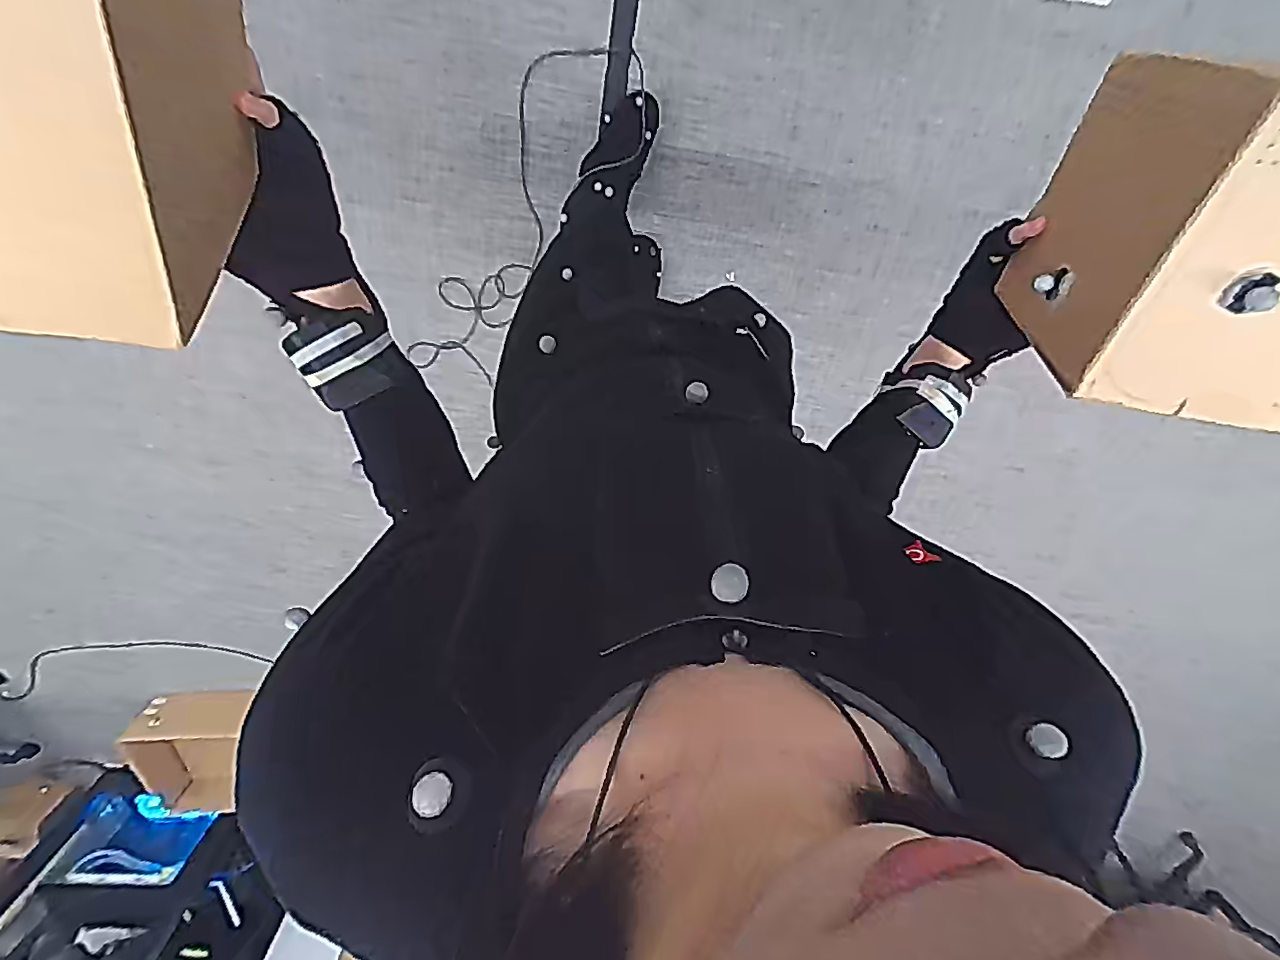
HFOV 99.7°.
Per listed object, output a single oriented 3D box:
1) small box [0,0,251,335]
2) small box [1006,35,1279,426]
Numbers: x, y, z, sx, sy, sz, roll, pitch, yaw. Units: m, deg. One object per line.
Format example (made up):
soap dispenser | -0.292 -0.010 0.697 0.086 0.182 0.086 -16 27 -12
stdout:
small box | -0.255 -0.181 0.183 0.168 0.179 0.176 5 138 -26
small box | 0.368 -0.151 0.322 0.168 0.179 0.176 12 133 6
